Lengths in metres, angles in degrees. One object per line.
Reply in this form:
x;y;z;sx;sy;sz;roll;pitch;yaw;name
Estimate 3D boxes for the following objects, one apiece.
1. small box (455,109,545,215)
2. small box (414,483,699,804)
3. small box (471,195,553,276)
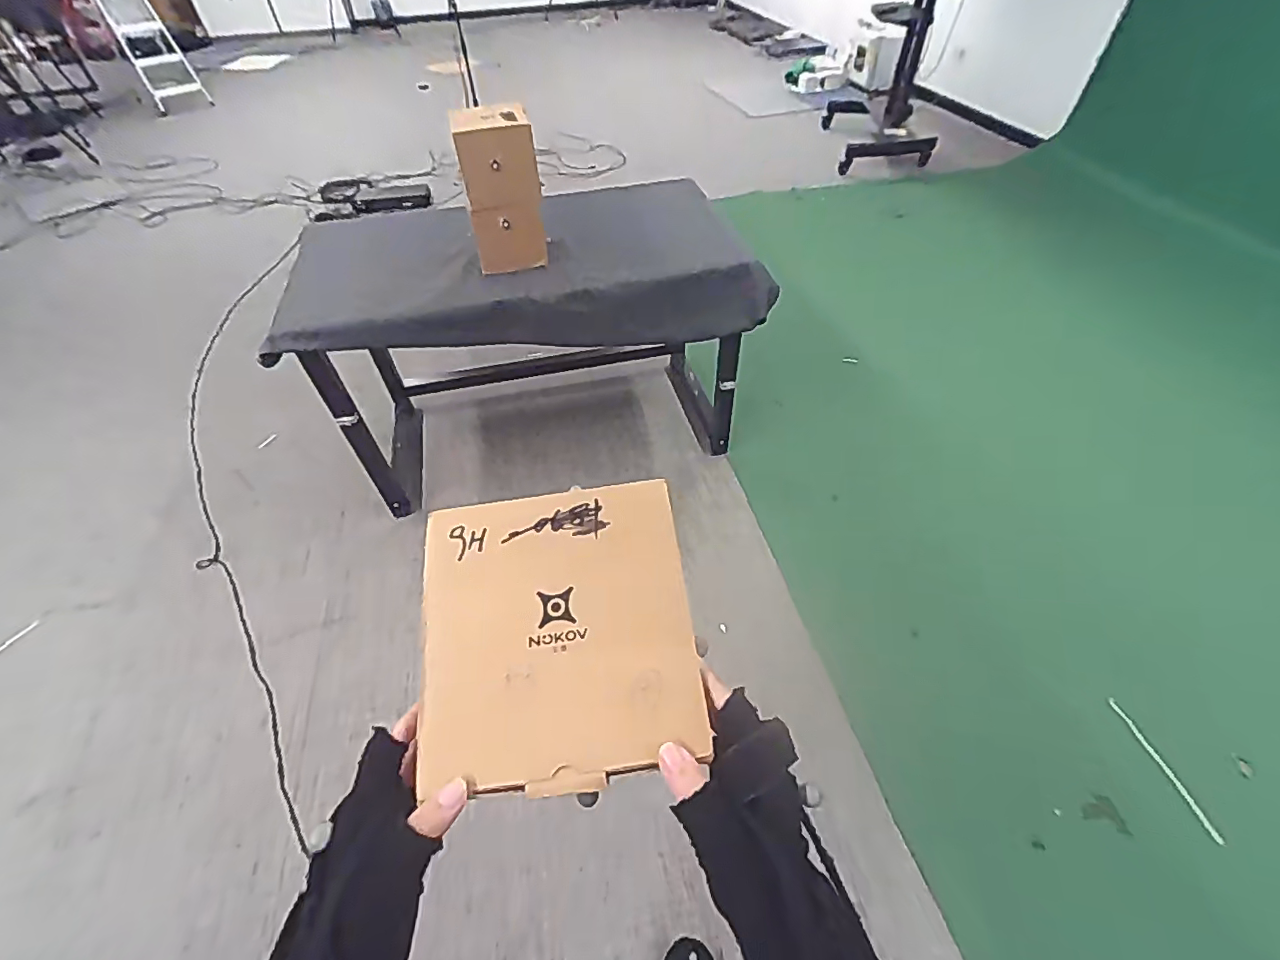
-0.329;-0.760;1.294;0.179;0.176;0.168;-14;50;-11;small box
-0.051;0.124;0.407;0.168;0.176;0.179;-8;64;-1;small box
-0.334;-0.654;1.419;0.179;0.176;0.168;-11;50;-9;small box
